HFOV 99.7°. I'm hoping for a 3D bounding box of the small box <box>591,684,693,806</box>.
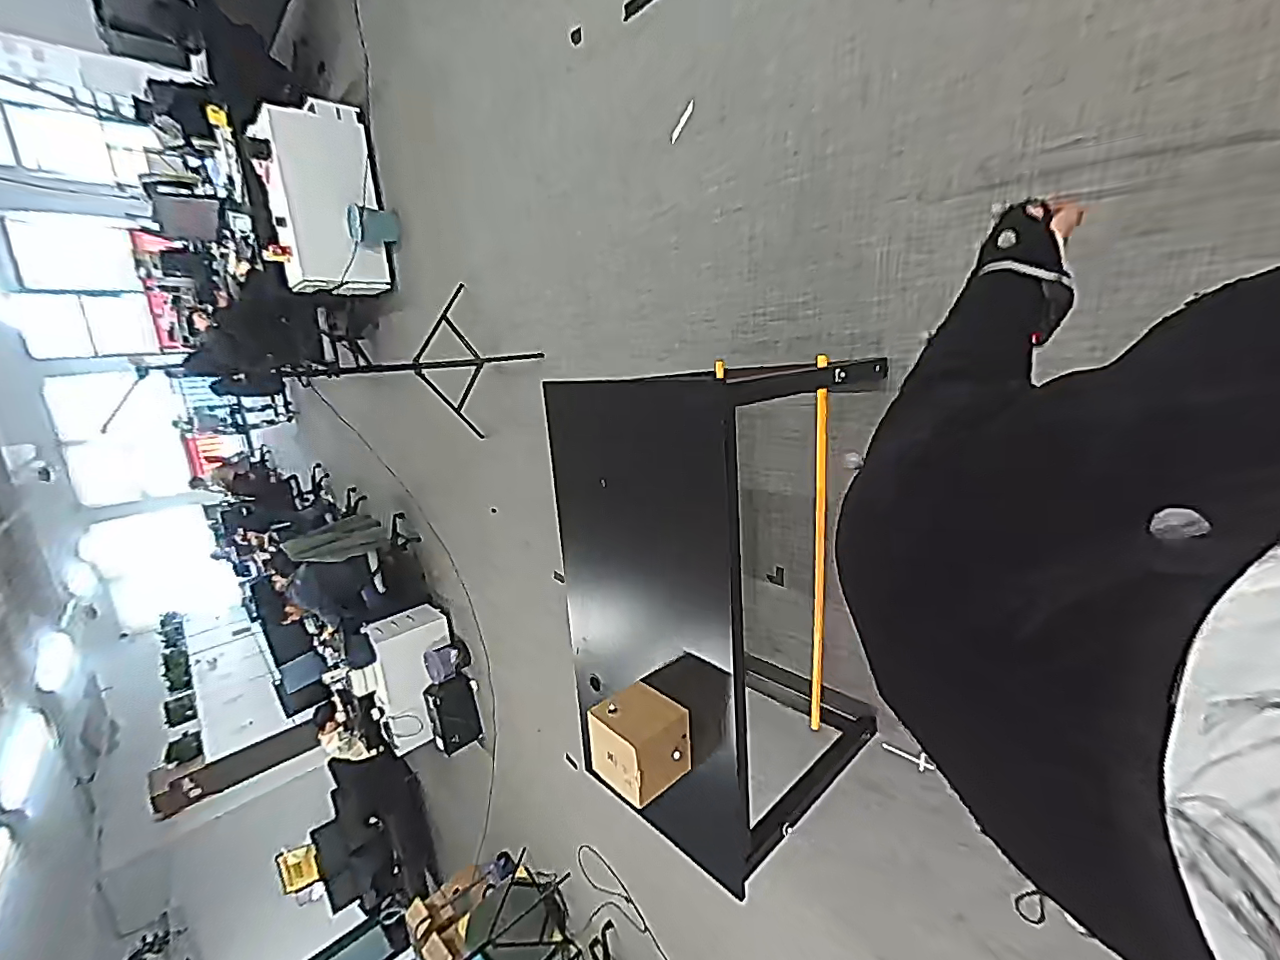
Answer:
[{"bbox_3d":[0.006,0.614,1.284,0.179,0.176,0.168,12,112,47],"label":"small box"}]
